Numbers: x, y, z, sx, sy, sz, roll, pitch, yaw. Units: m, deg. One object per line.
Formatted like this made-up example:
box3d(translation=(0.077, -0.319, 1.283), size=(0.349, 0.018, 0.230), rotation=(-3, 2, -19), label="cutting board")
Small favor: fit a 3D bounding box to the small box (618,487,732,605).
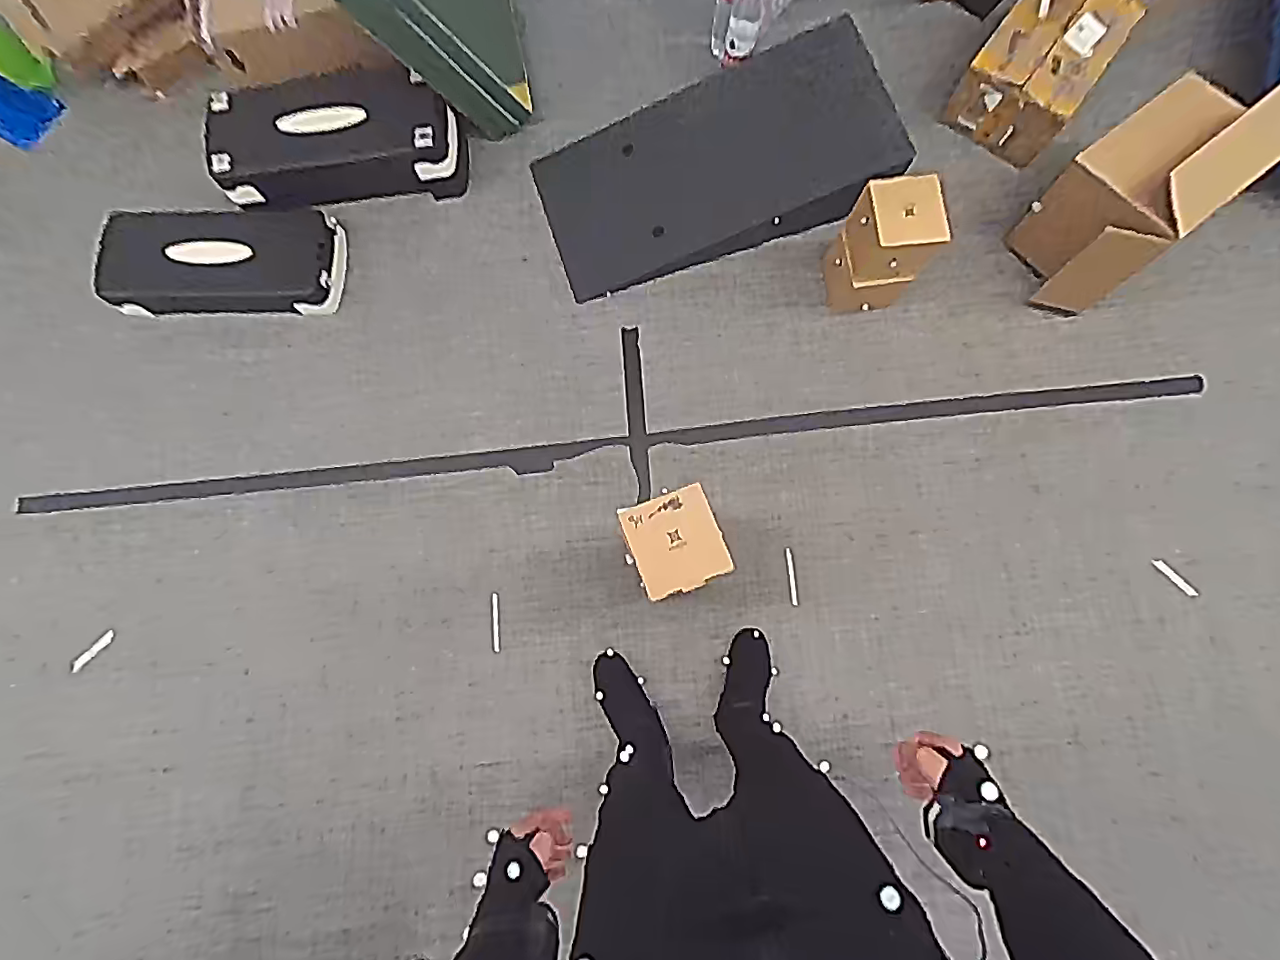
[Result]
box3d(translation=(0.065, 0.130, 1.068), size=(0.168, 0.176, 0.179), rotation=(-21, 81, -3), label="small box")
